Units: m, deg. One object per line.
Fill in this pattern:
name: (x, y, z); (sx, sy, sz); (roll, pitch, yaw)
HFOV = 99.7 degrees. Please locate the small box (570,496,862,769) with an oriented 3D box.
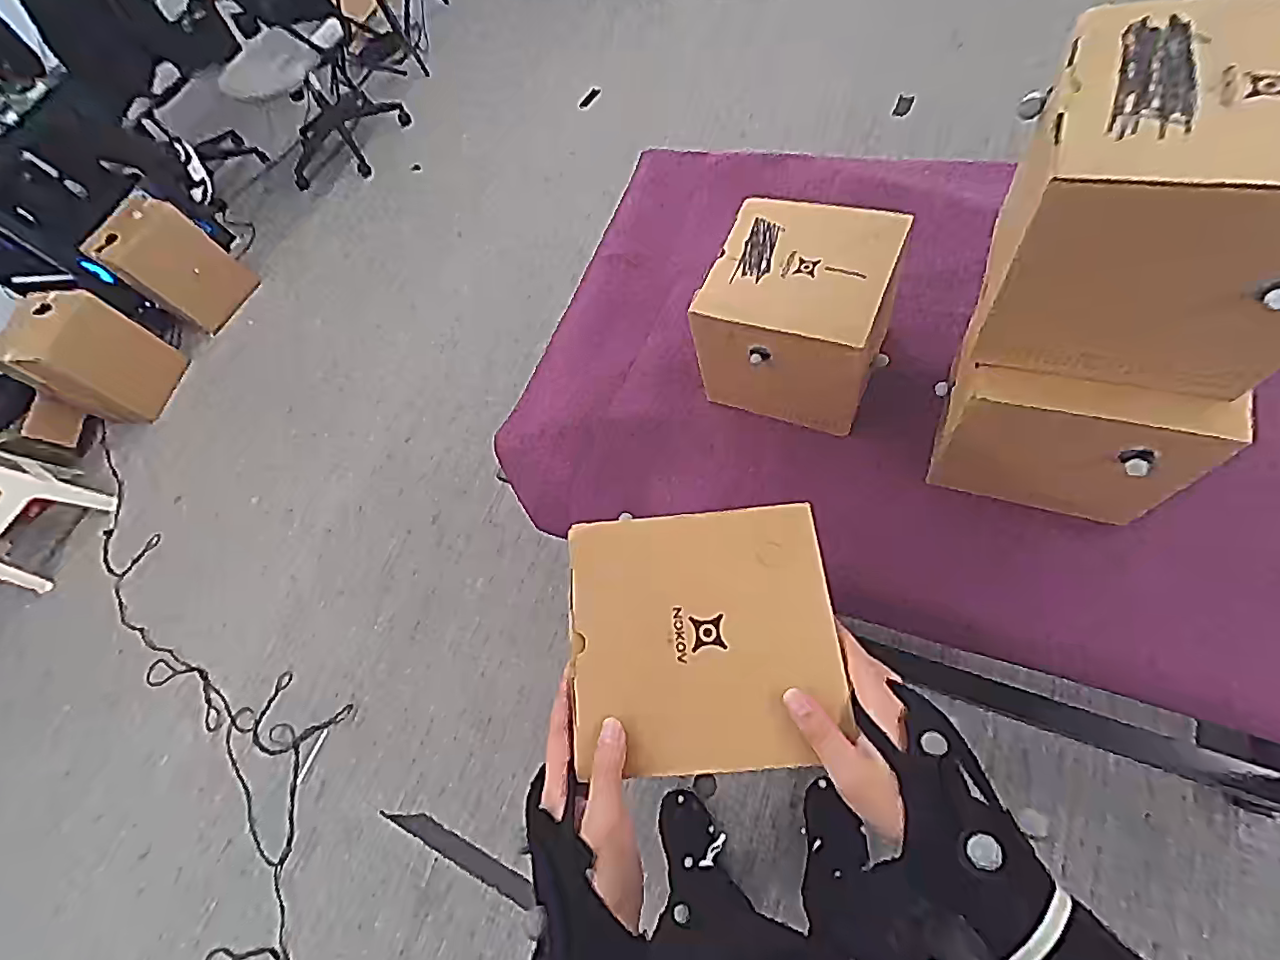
small box: (0.048, 0.124, 0.428); (0.179, 0.176, 0.168); (-7, 66, 4)

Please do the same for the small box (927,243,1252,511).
small box: (0.392, -0.087, 0.500); (0.179, 0.176, 0.168); (15, 69, 22)

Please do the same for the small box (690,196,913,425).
small box: (0.177, -0.183, 0.608); (0.179, 0.176, 0.168); (20, 72, 22)
